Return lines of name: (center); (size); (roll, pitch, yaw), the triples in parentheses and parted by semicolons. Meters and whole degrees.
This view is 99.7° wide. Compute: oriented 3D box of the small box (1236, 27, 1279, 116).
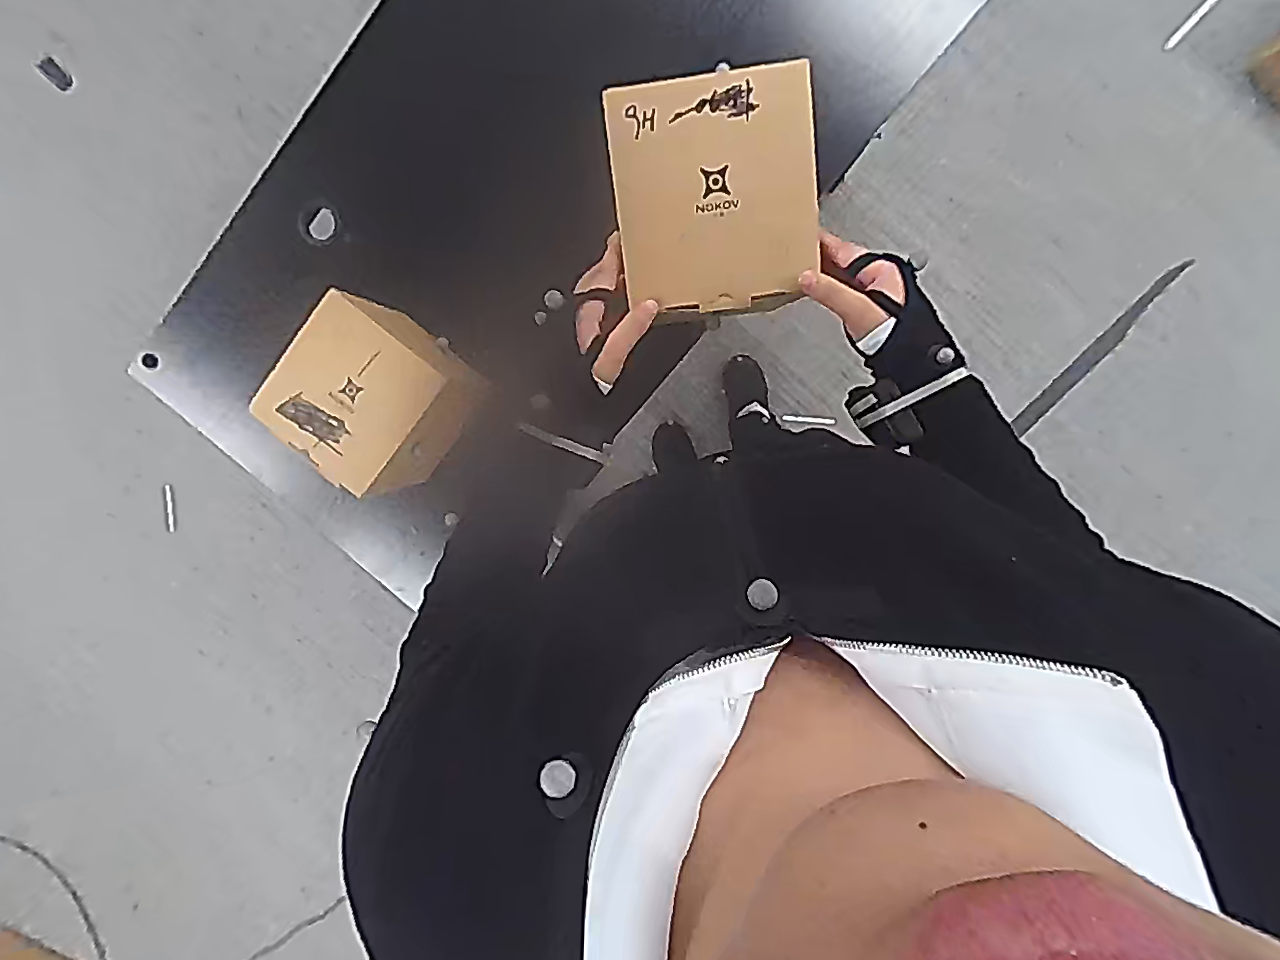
small box: (1.538, -0.965, 1.213); (0.179, 0.176, 0.168); (43, 97, -2)

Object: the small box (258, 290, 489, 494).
small box: (-0.325, -0.106, 0.698); (0.168, 0.176, 0.179); (39, 96, -2)

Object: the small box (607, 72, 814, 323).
small box: (0.065, -0.252, 0.531); (0.168, 0.176, 0.179); (-6, 103, 3)
